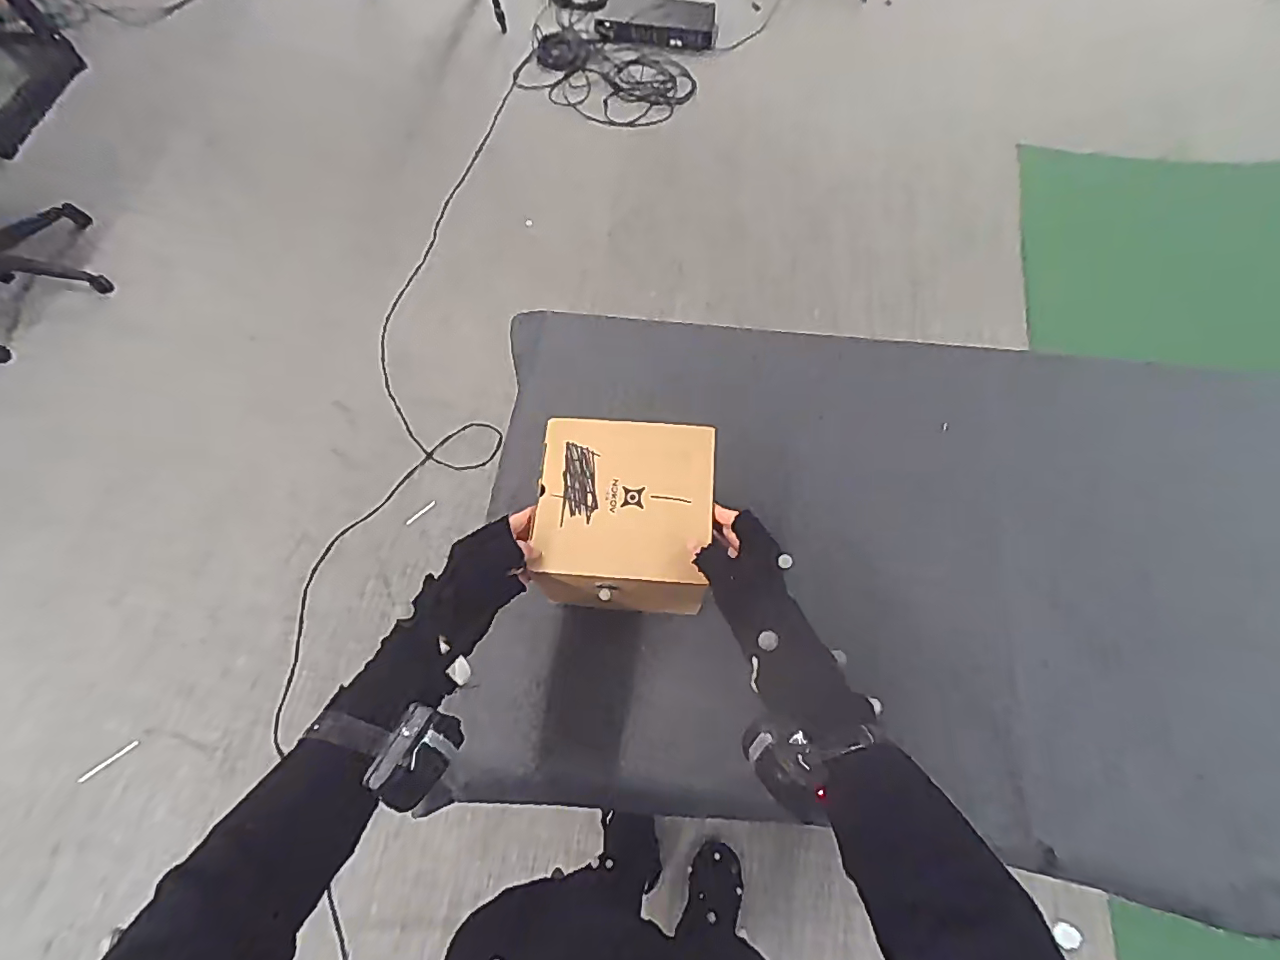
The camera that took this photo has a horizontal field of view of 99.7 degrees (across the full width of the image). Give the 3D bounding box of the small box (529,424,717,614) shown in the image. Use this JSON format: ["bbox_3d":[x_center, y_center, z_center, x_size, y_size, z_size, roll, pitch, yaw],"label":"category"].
[{"bbox_3d":[-0.011,0.052,0.608,0.179,0.176,0.168,4,67,2],"label":"small box"}]
